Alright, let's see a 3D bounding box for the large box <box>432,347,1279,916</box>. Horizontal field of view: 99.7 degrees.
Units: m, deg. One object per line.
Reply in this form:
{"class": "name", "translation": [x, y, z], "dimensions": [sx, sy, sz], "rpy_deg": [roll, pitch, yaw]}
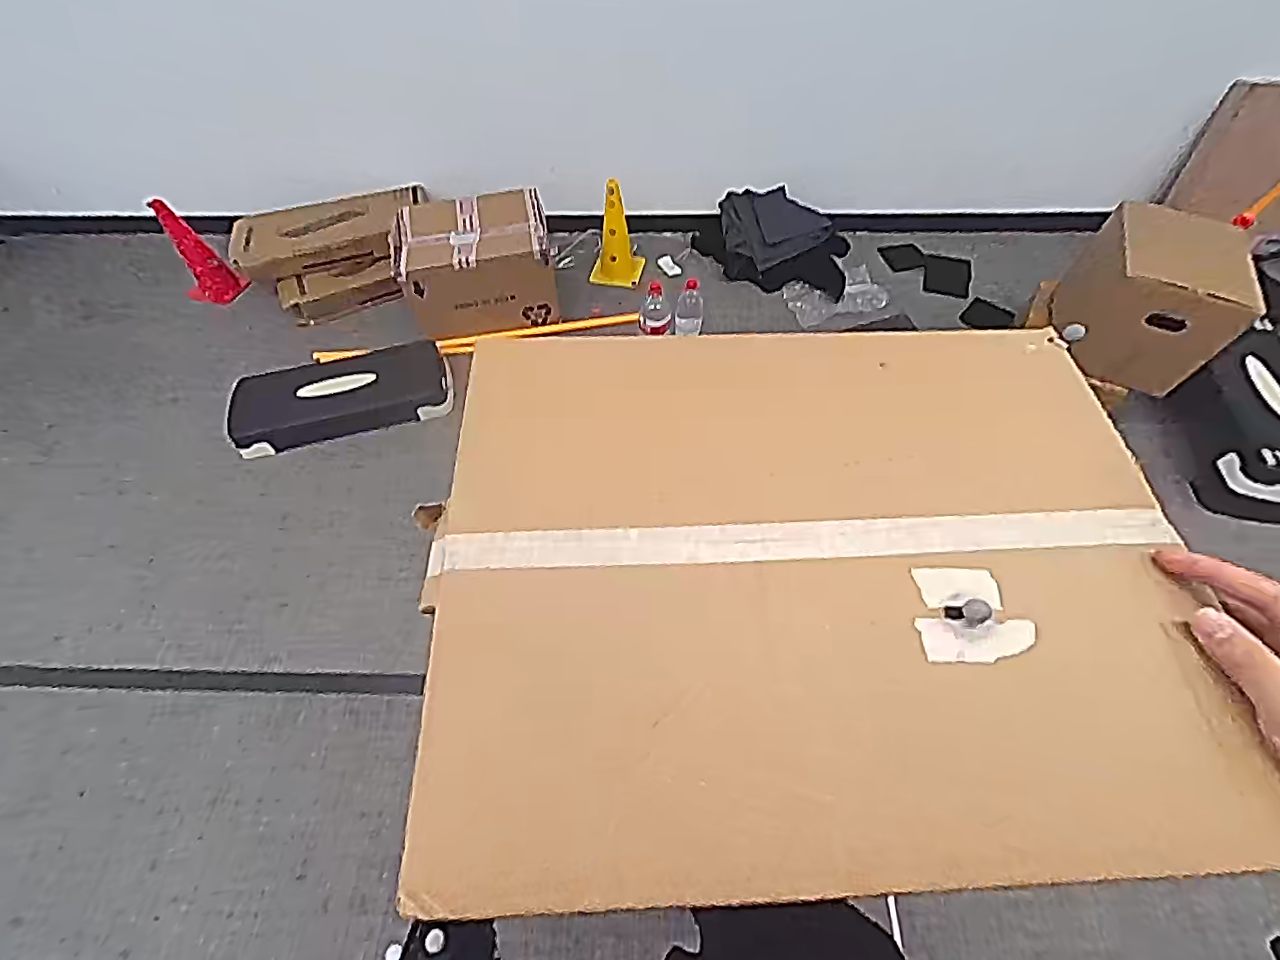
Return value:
{"class": "large box", "translation": [0.092, 0.116, 0.440], "dimensions": [0.408, 0.320, 0.320], "rpy_deg": [-1, 61, -3]}
